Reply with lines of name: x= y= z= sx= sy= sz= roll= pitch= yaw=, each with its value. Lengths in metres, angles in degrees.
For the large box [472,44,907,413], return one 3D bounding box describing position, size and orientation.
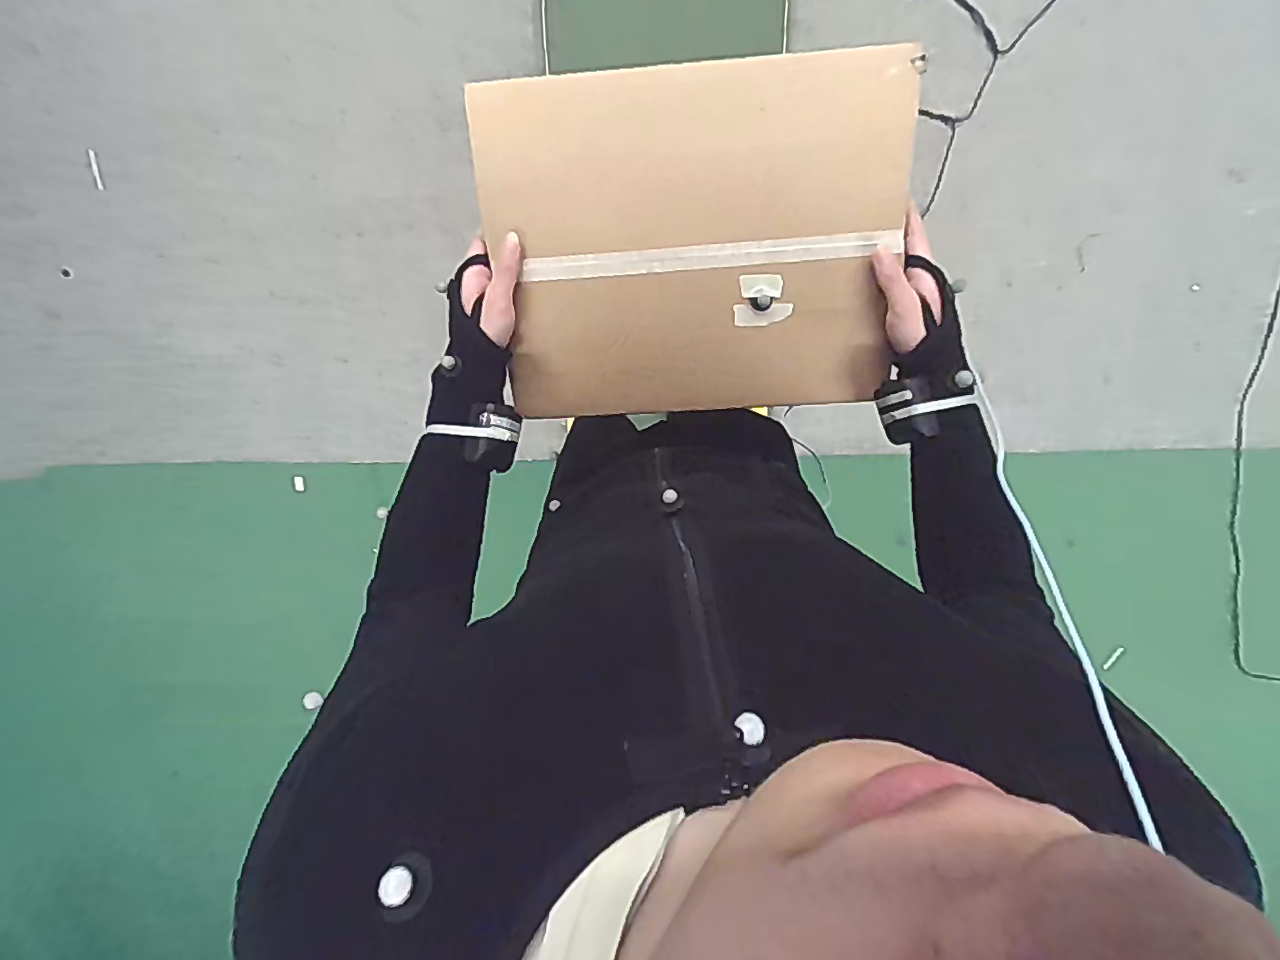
large box: x=0.054 y=-0.284 z=0.680 sx=0.408 sy=0.320 sz=0.320 roll=-3 pitch=112 yaw=3
